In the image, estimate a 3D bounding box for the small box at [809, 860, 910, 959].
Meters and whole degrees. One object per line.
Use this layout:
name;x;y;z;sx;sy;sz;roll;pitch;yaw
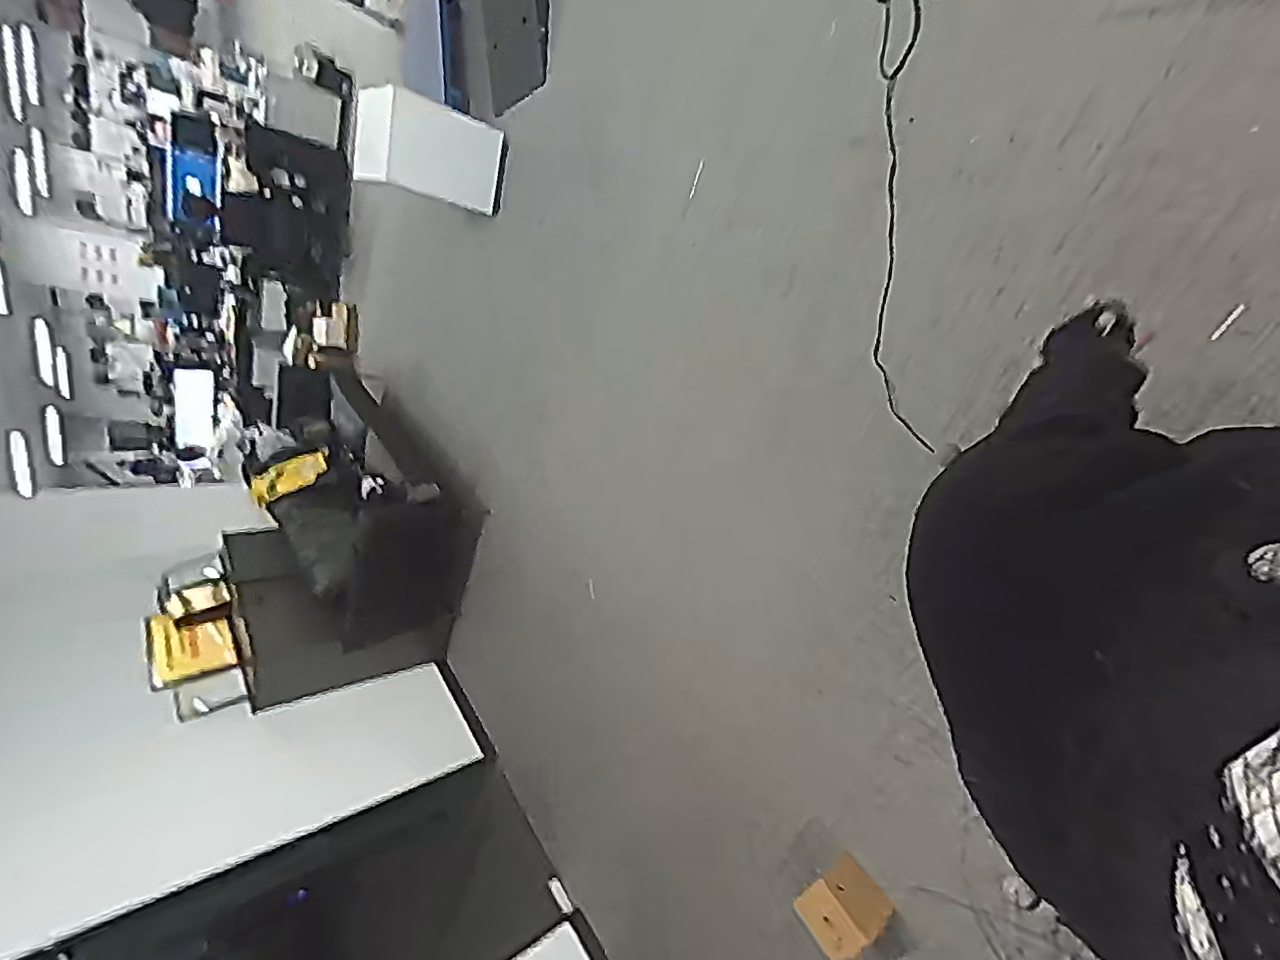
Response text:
small box;0.633;1.243;1.558;0.179;0.176;0.168;46;124;35
